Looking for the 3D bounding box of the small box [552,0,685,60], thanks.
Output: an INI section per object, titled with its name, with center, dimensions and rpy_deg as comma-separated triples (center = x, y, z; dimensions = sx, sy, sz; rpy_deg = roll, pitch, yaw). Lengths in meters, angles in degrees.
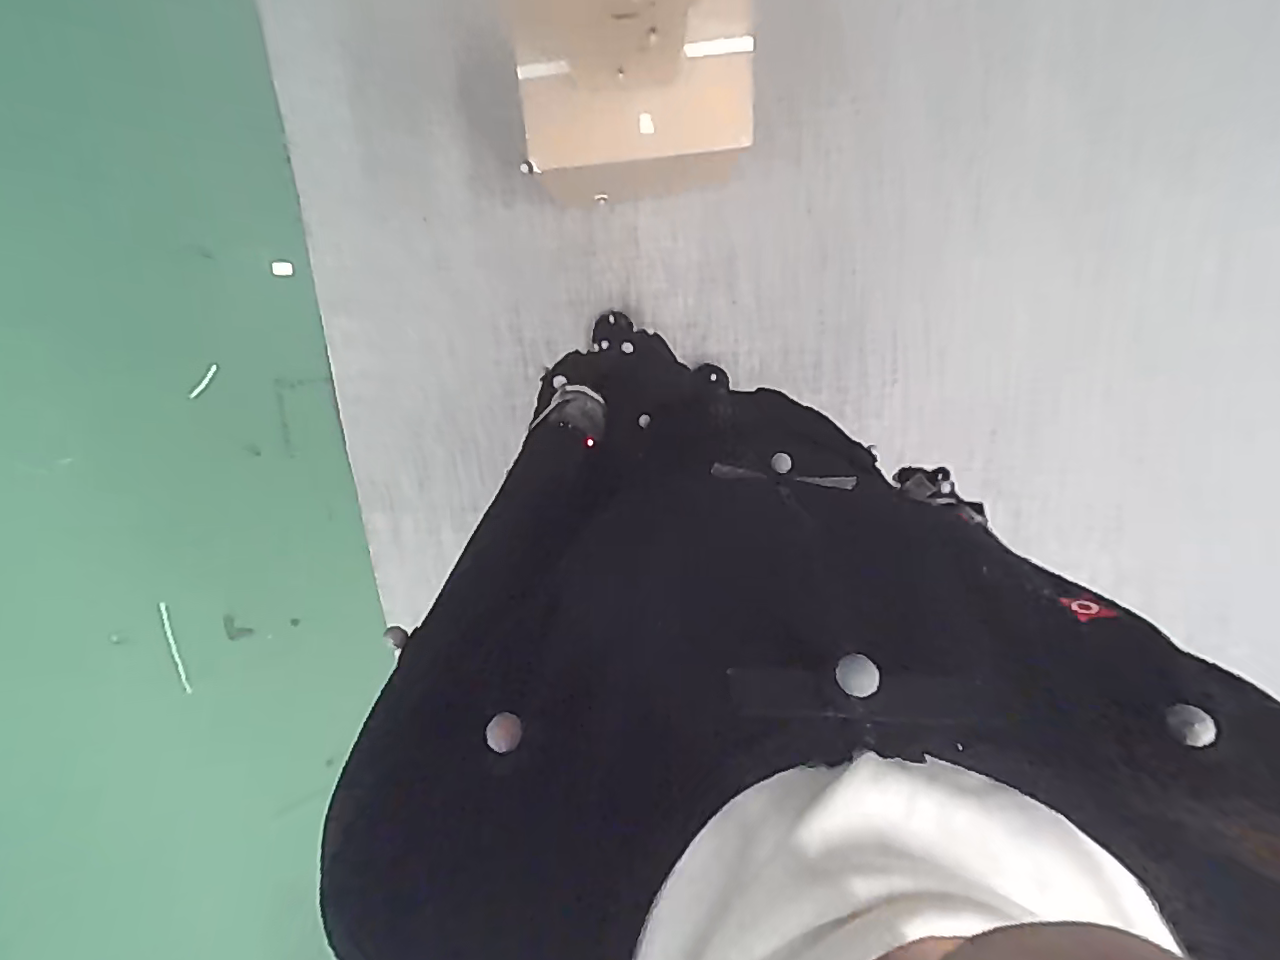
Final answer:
[small box]
center = -0.028, -0.669, 0.690
dimensions = 0.168, 0.176, 0.179
rpy_deg = -5, 110, 2
